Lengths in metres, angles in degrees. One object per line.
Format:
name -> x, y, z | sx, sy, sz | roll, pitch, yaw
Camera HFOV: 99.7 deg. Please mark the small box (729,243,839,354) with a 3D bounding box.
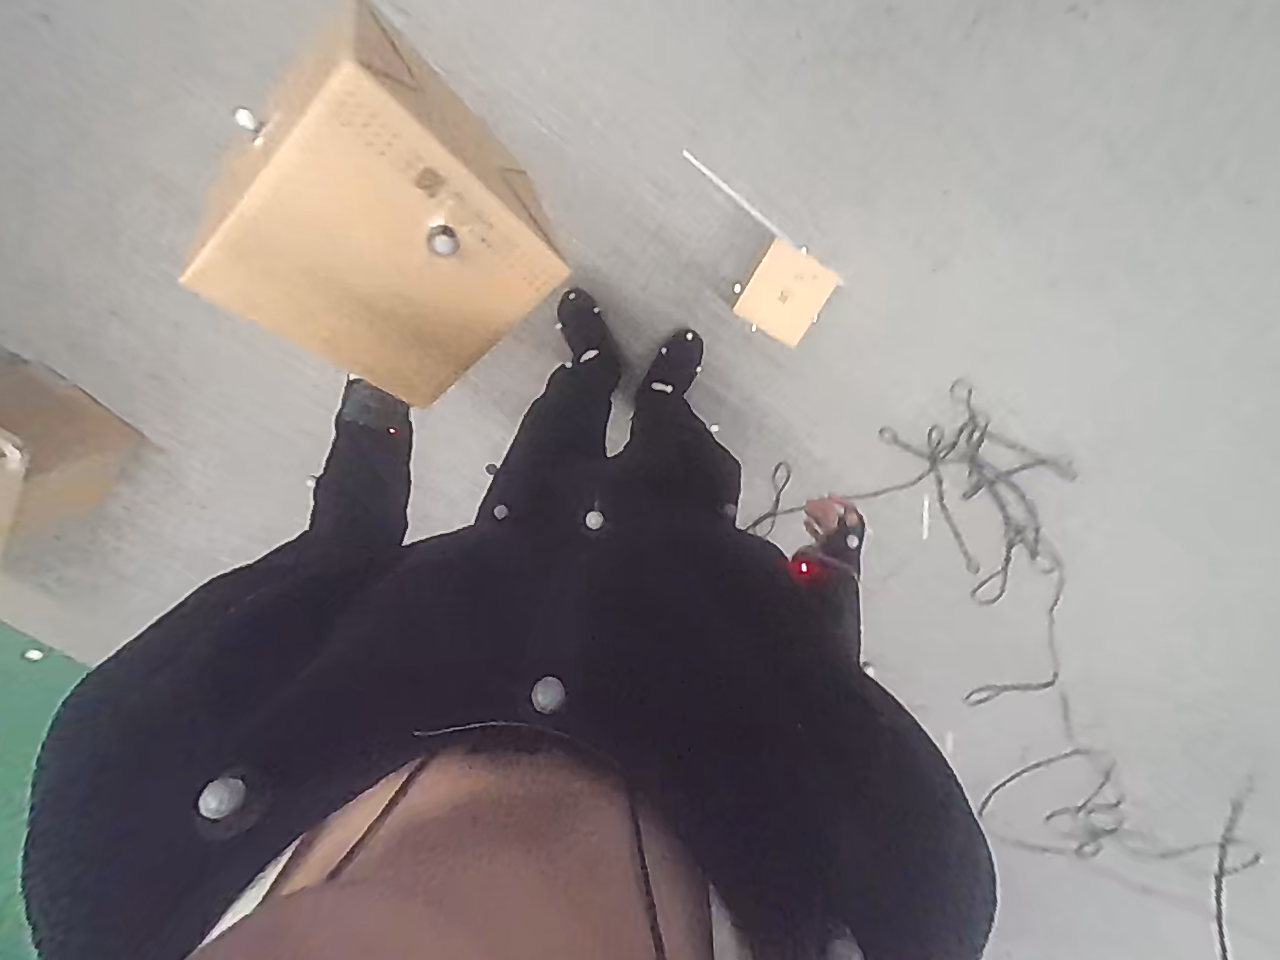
small box -> 0.317, -0.415, 1.234 | 0.168, 0.176, 0.179 | 29, 111, -7
